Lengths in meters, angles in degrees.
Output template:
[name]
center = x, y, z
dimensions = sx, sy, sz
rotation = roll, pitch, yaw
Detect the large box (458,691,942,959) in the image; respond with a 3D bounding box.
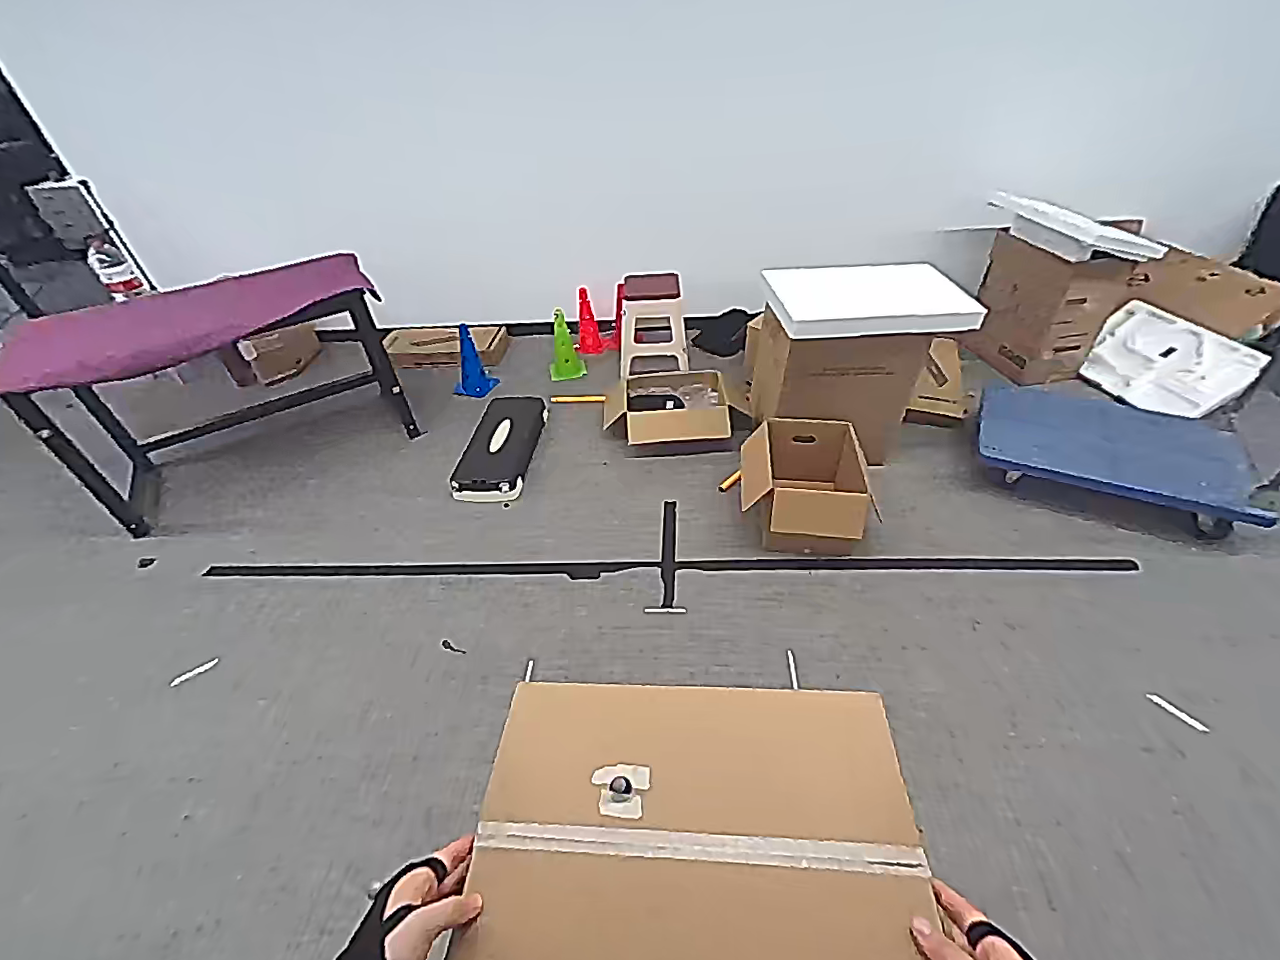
[large box]
center = 0.065, 0.454, 0.597
dimensions = 0.408, 0.320, 0.320
rotation = -3, 40, 8
